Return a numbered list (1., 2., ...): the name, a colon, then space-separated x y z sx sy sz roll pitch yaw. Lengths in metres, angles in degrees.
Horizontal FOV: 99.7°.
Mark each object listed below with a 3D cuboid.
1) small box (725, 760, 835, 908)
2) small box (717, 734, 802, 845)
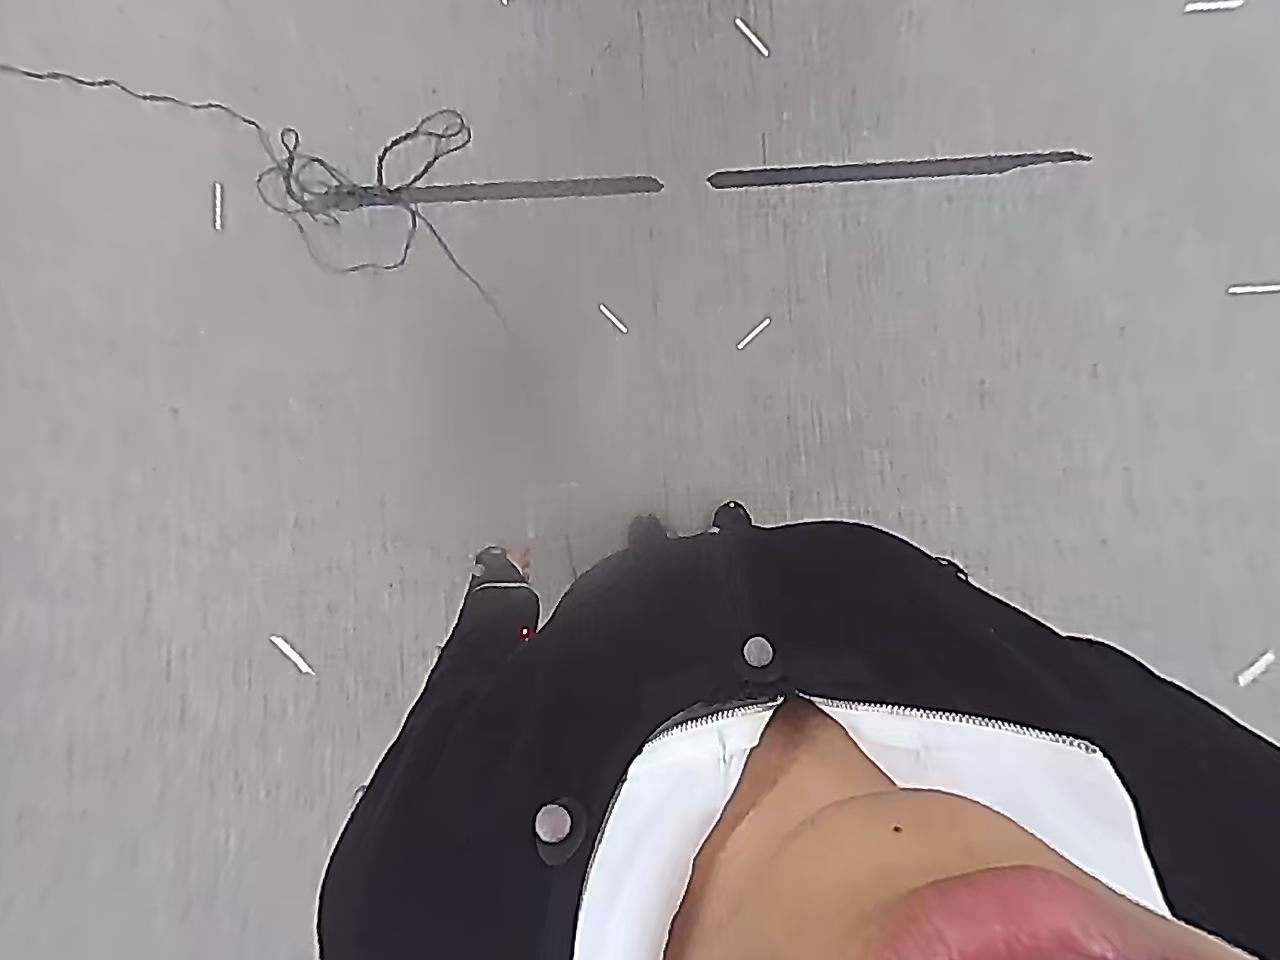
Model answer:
1. small box: 0.259 0.666 1.033 0.168 0.176 0.179 -6 87 2
2. small box: 0.263 0.668 1.198 0.168 0.176 0.179 -5 88 2
